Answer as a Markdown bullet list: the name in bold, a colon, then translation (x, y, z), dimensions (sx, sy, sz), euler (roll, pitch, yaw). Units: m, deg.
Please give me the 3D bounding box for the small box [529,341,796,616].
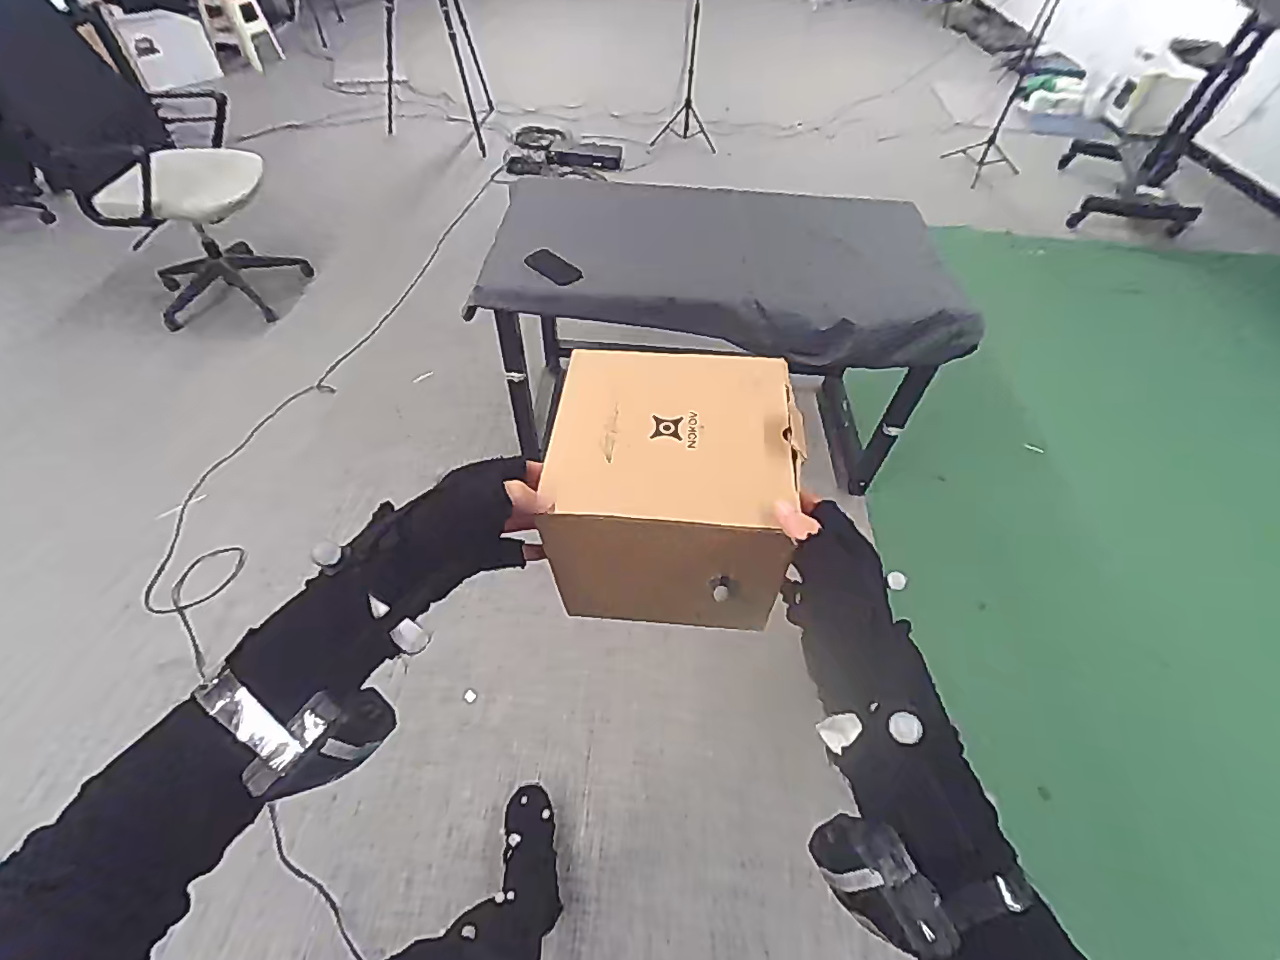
- **small box**: translation (0.024, 0.005, 0.458), dimensions (0.179, 0.176, 0.168), euler (3, 53, 5)
